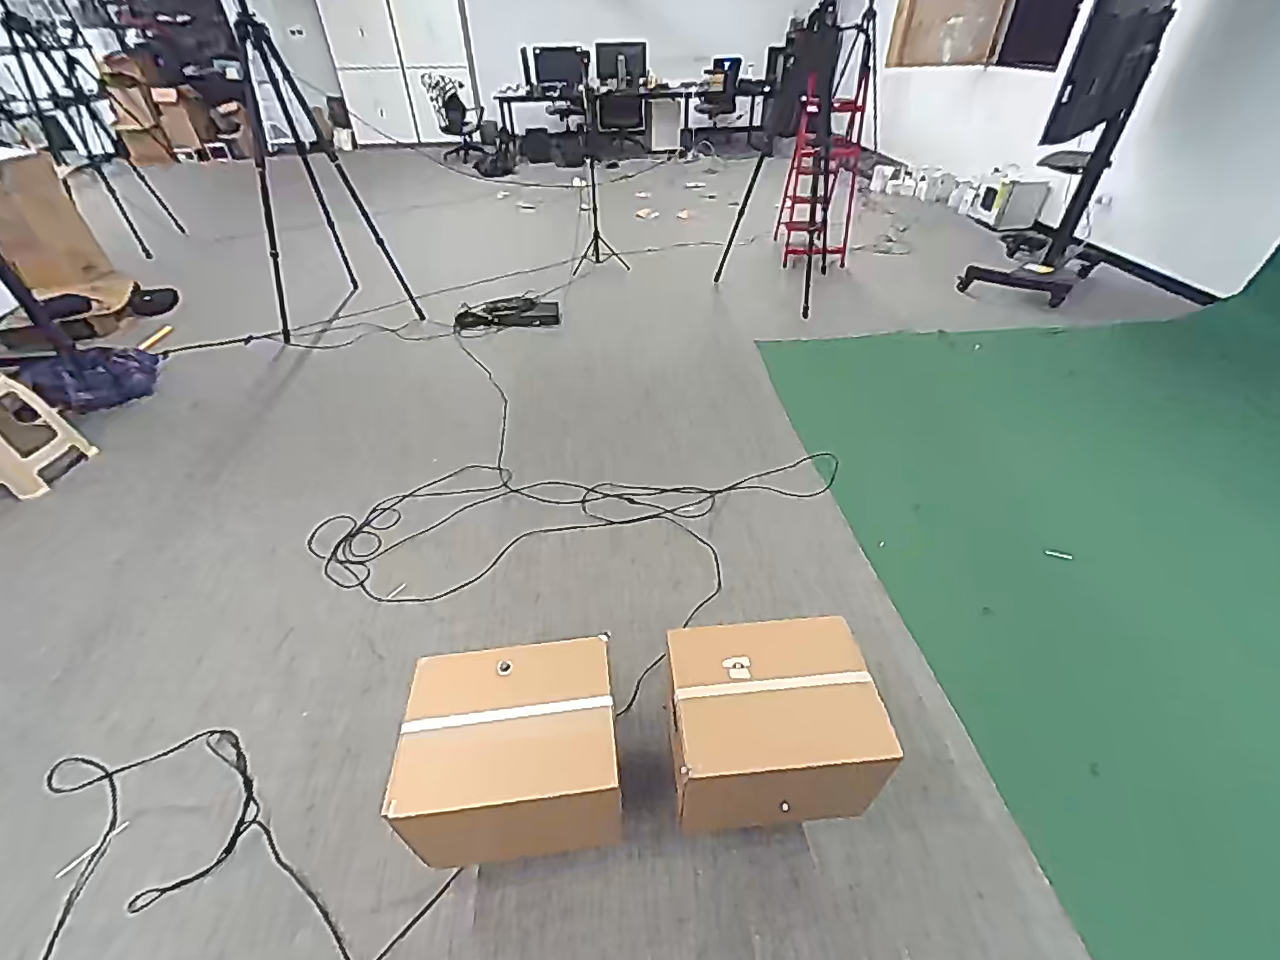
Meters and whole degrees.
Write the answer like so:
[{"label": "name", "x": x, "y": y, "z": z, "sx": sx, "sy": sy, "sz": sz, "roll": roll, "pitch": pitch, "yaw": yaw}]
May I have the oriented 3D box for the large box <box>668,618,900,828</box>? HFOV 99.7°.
[{"label": "large box", "x": 0.282, "y": 0.540, "z": 1.204, "sx": 0.408, "sy": 0.320, "sz": 0.320, "roll": -4, "pitch": 41, "yaw": -3}]
